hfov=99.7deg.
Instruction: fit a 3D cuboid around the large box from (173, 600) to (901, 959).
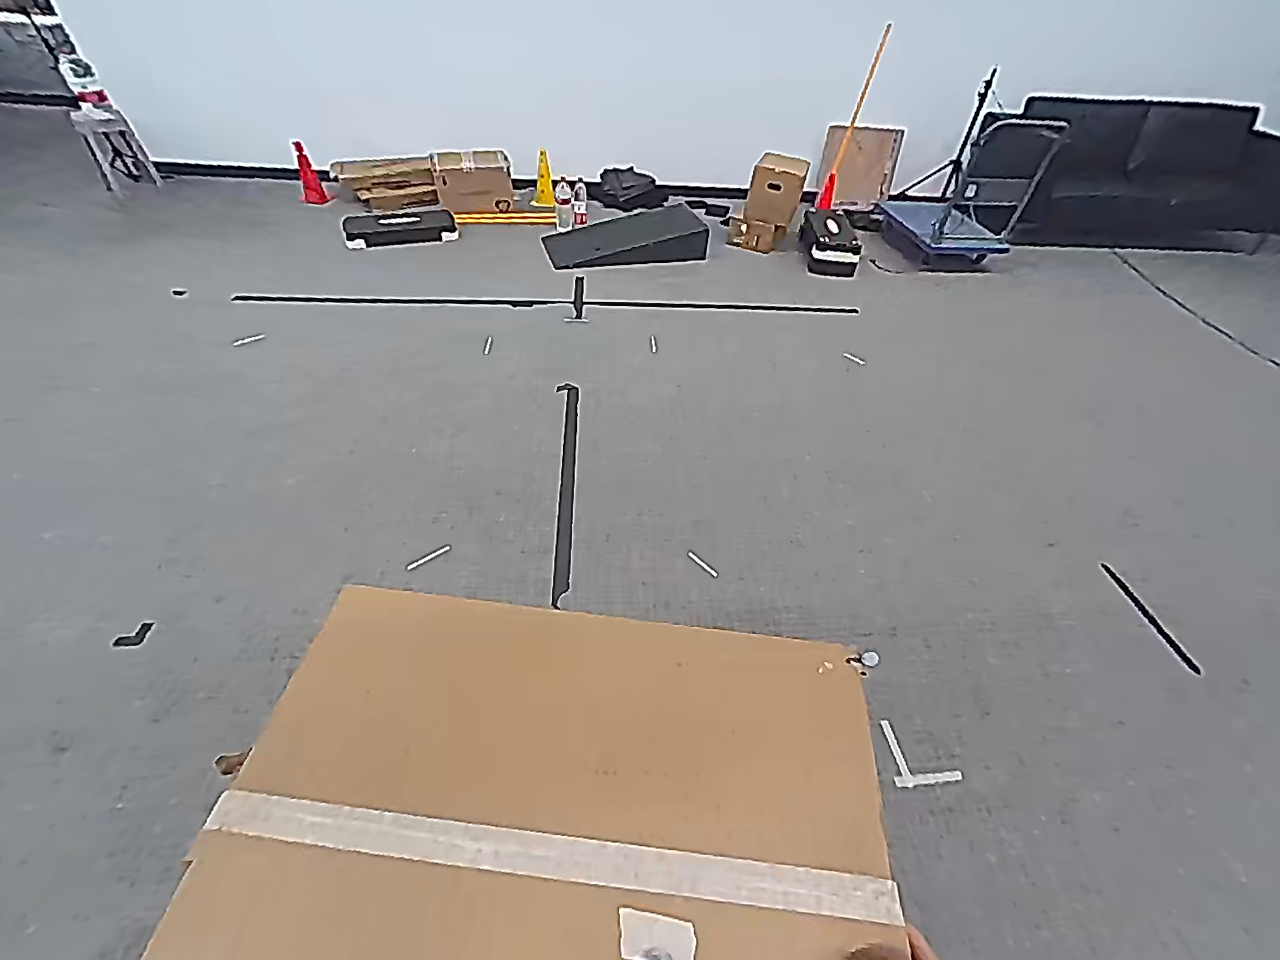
[{"bbox_3d":[-0.055,0.327,0.440,0.408,0.320,0.320,7,49,2],"label":"large box"}]
